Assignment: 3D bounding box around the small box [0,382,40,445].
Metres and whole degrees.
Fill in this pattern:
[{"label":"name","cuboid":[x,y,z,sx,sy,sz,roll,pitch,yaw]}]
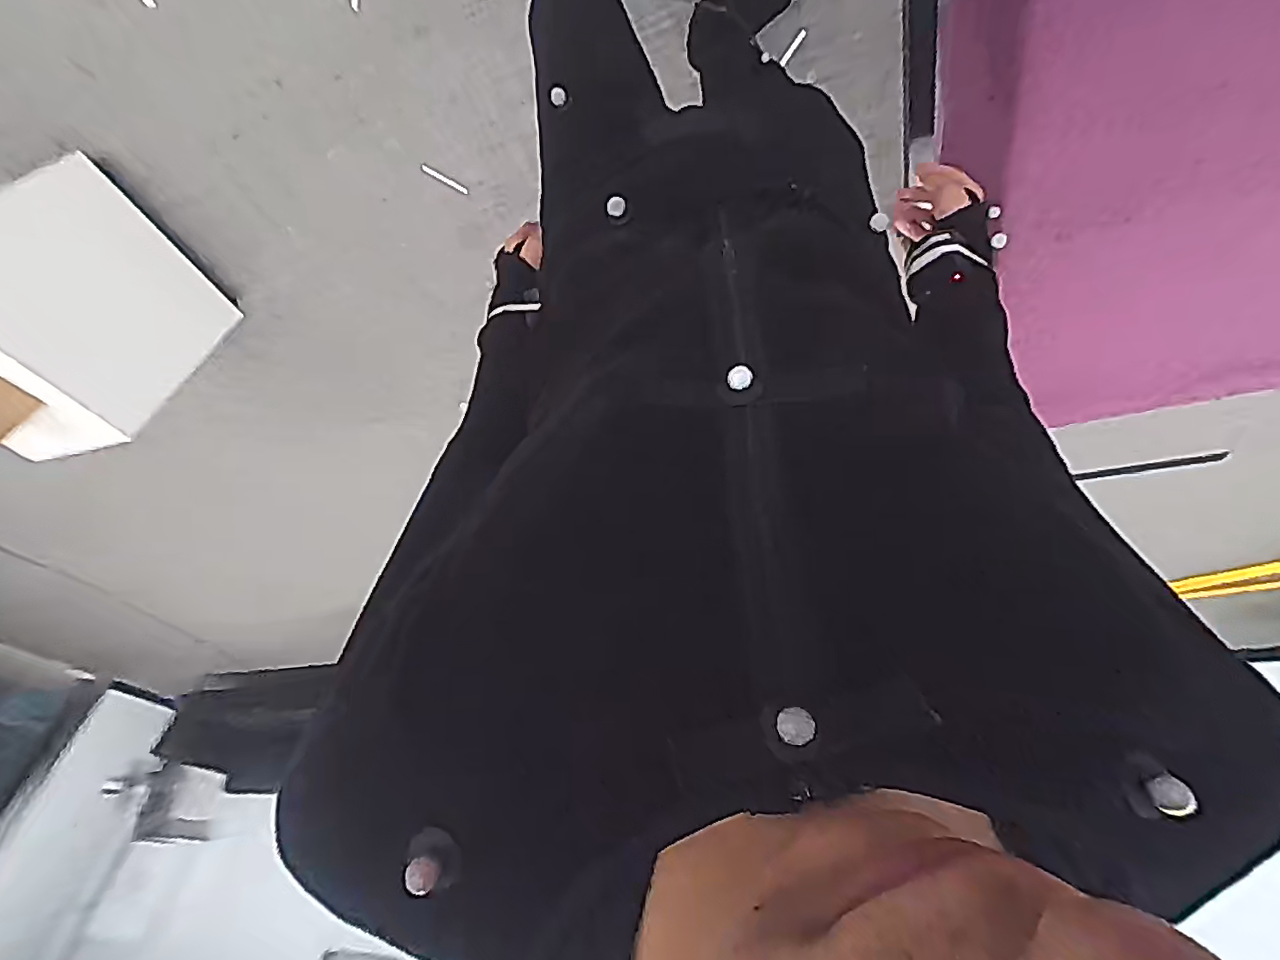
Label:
[{"label":"small box","cuboid":[-1.560,-0.151,1.233,0.168,0.176,0.179,-14,137,21]}]
